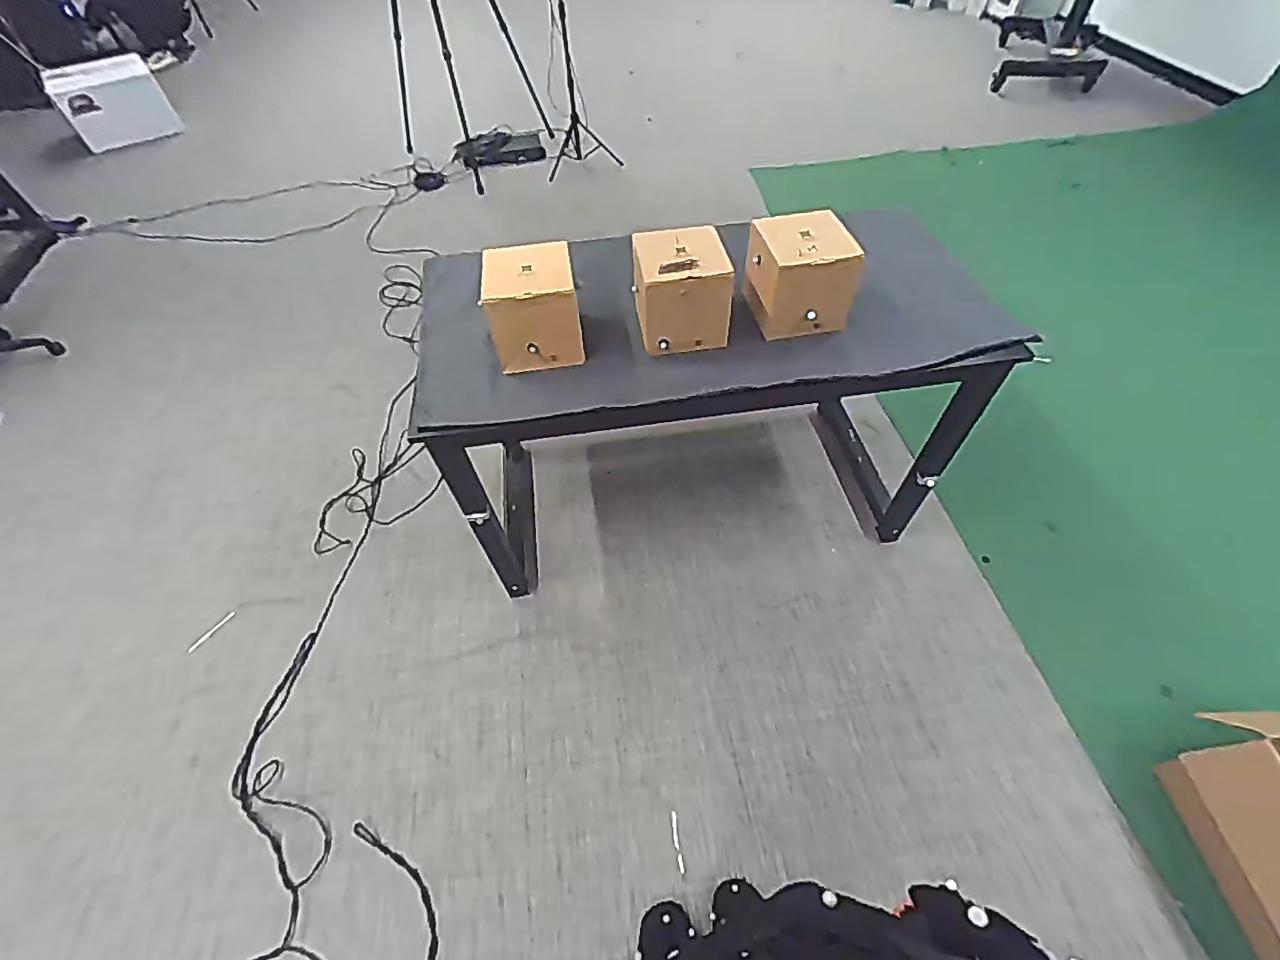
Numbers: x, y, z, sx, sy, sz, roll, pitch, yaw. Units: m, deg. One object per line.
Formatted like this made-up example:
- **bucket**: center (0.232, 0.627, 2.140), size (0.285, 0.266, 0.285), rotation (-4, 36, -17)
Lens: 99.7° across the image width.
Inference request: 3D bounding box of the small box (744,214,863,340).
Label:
- **small box**: center (0.319, -0.410, 1.097), size (0.168, 0.176, 0.179), rotation (-9, 53, -4)

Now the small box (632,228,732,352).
- **small box**: center (0.080, -0.371, 1.080), size (0.168, 0.176, 0.179), rotation (-8, 52, -4)

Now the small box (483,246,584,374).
- **small box**: center (-0.205, -0.333, 1.063), size (0.168, 0.176, 0.179), rotation (-9, 52, -5)
